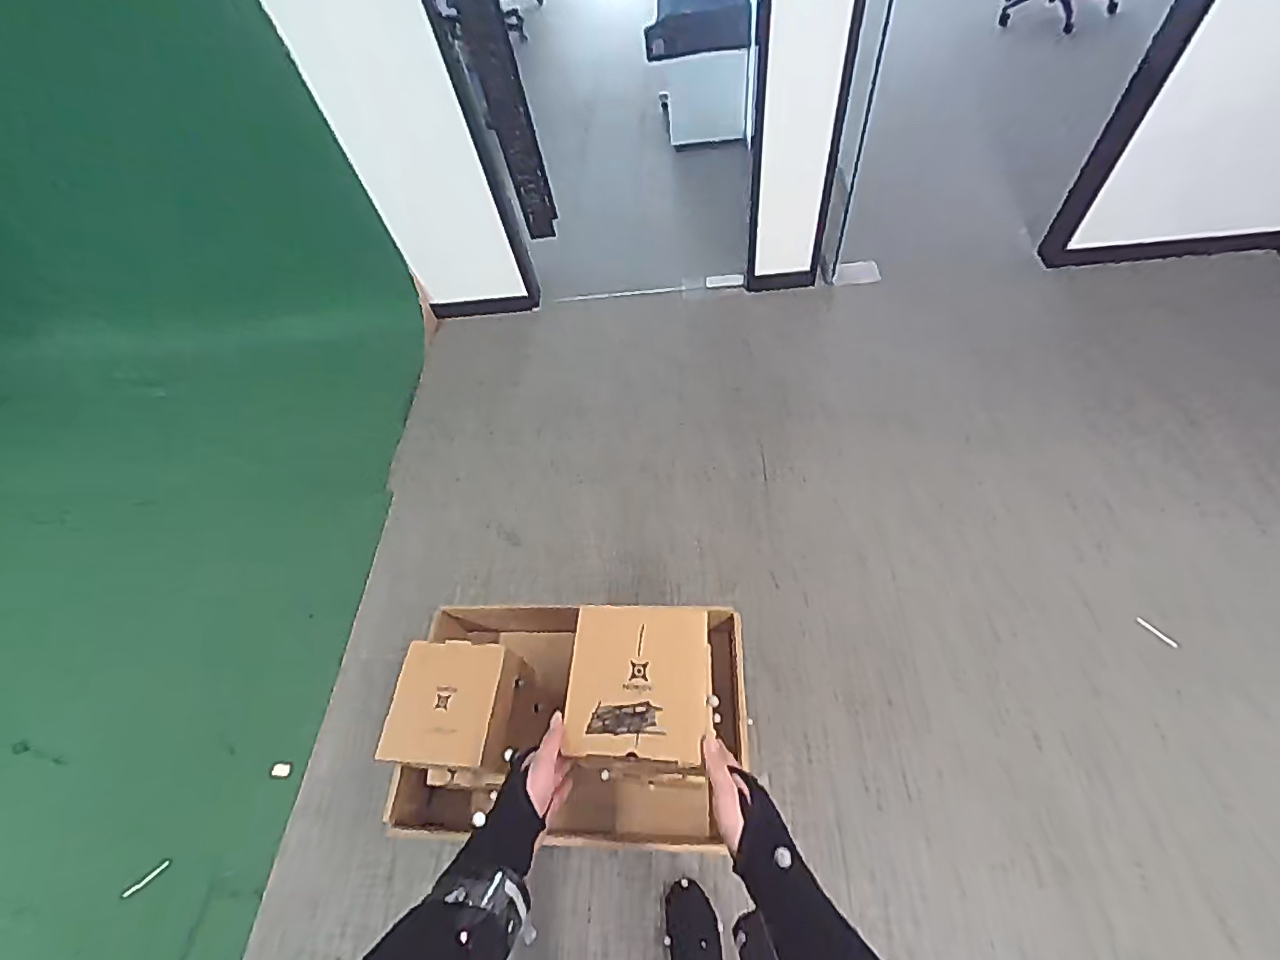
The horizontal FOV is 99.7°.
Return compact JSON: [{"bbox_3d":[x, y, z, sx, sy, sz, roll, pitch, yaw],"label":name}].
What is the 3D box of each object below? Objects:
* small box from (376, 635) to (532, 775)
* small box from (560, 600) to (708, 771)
[{"bbox_3d":[-0.287,0.369,0.885,0.168,0.176,0.179,0,57,9],"label":"small box"},{"bbox_3d":[0.004,0.274,0.709,0.168,0.176,0.179,2,57,7],"label":"small box"}]
